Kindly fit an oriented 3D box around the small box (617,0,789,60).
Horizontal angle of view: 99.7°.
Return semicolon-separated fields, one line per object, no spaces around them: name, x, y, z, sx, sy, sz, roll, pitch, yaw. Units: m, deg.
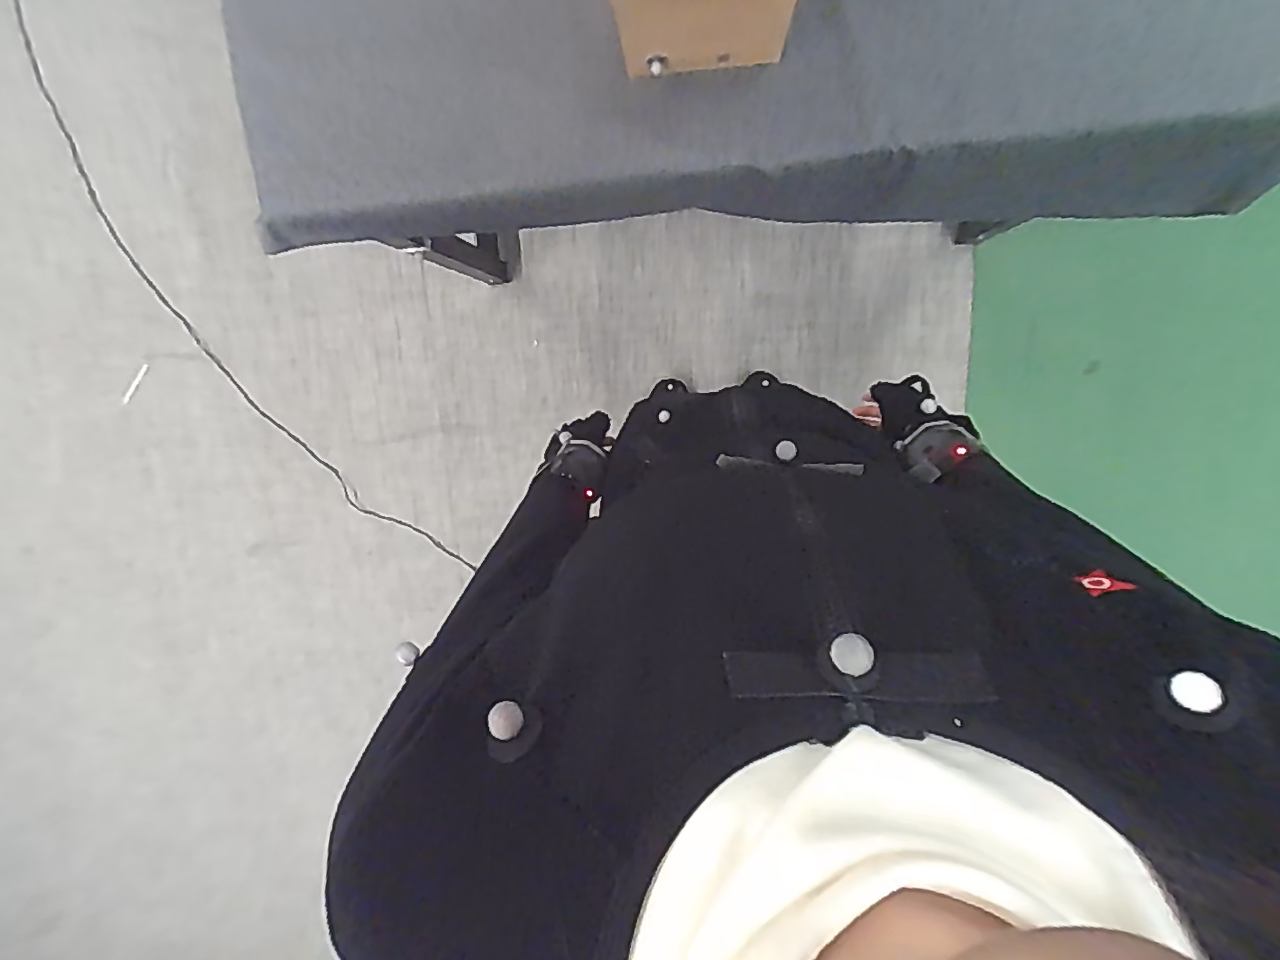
small box;0.060;-0.529;0.504;0.168;0.176;0.179;-1;101;5
